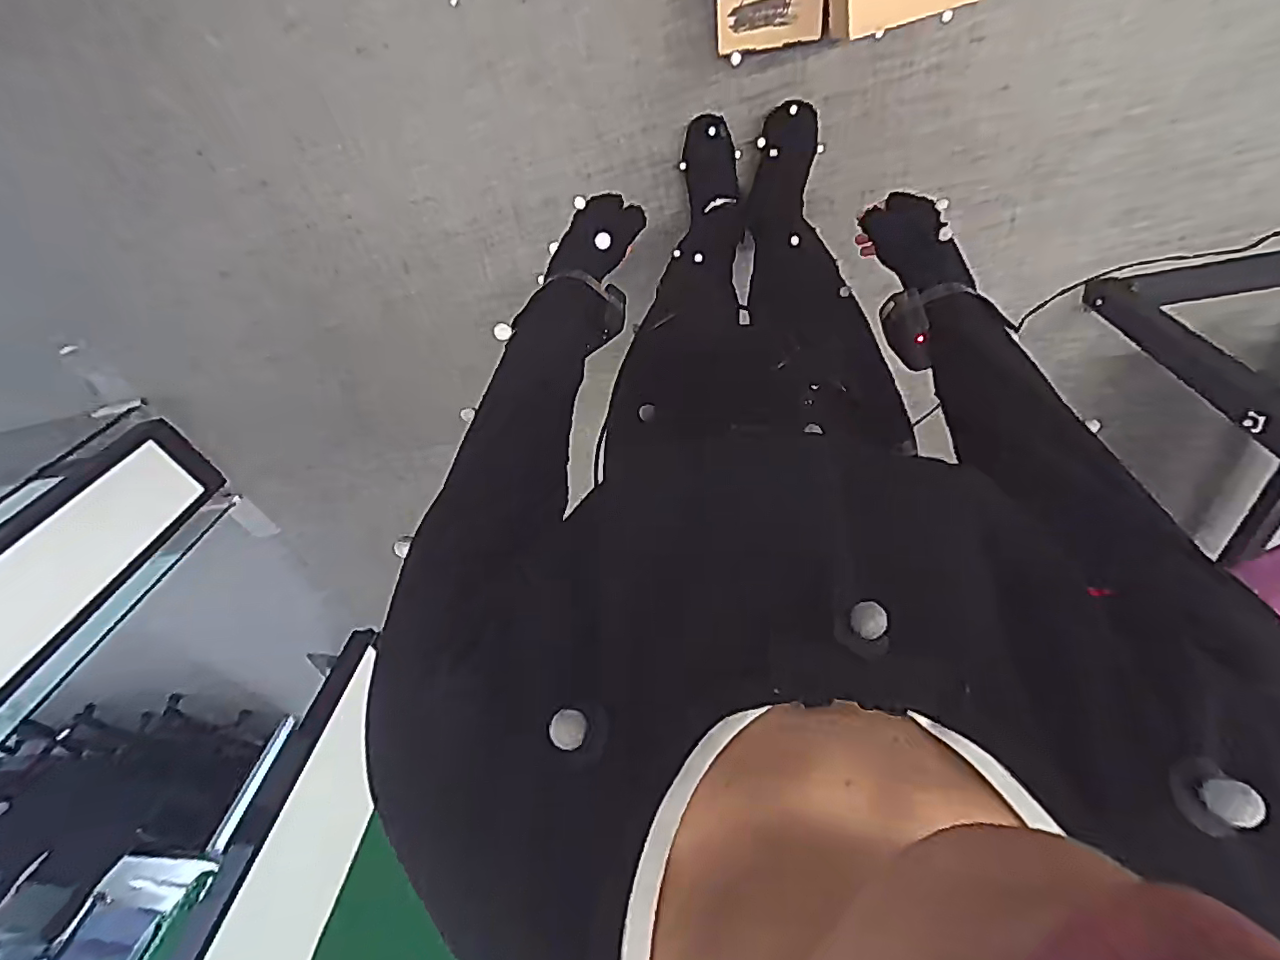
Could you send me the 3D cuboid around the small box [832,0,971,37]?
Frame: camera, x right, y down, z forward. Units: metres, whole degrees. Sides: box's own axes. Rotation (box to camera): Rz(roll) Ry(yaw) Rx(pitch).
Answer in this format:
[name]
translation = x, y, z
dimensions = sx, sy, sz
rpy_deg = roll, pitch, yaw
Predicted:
[small box]
translation = 0.360, -0.734, 0.738
dimensions = 0.179, 0.176, 0.168
rpy_deg = -9, 129, 15
